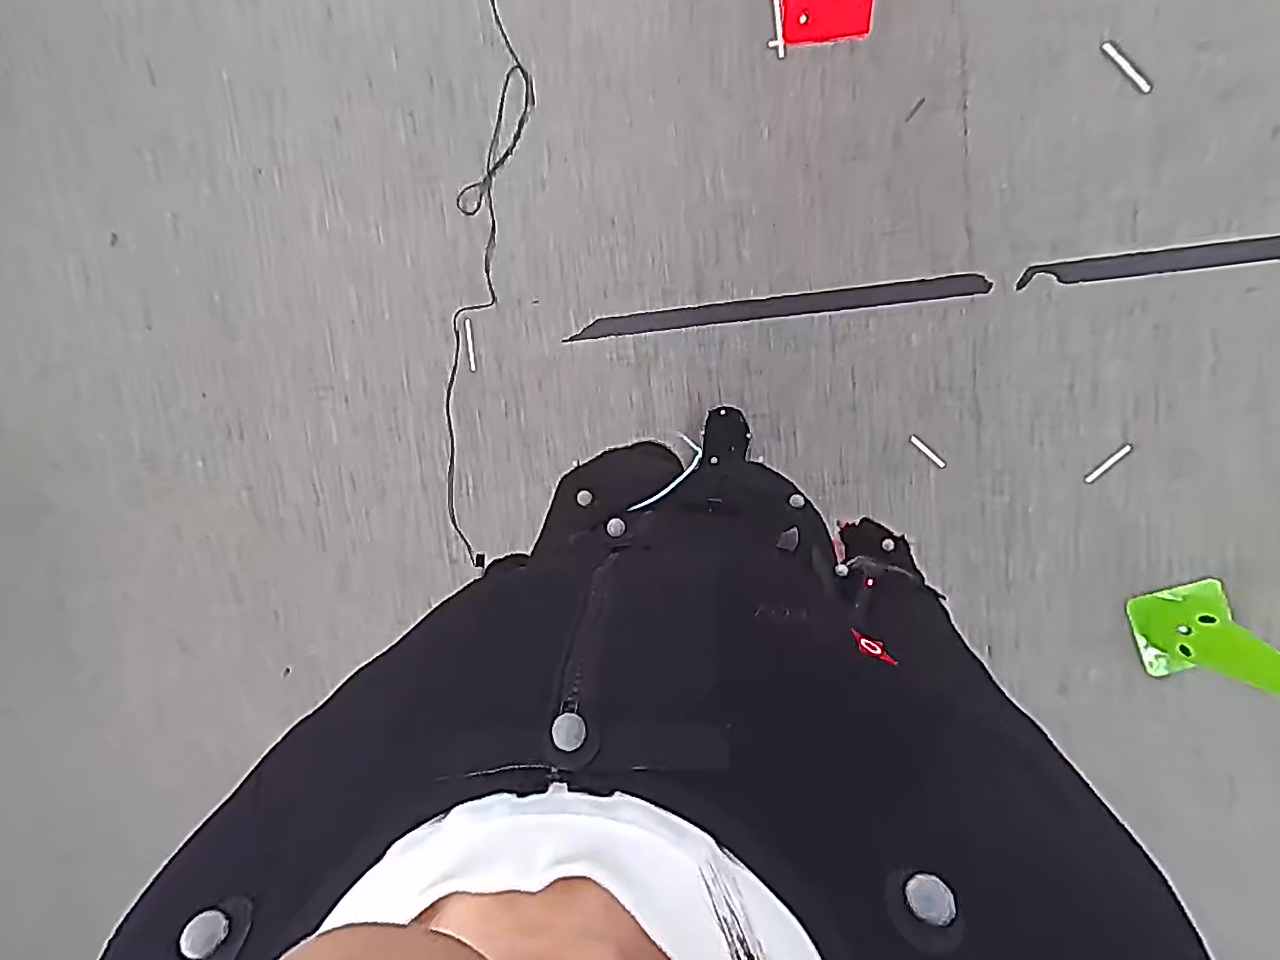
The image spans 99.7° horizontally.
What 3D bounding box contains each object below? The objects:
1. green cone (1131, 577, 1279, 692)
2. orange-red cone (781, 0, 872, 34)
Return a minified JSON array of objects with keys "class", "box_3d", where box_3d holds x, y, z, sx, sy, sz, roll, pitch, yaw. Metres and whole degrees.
[{"class":"green cone","box_3d":[1.254,0.360,1.099,0.202,0.368,0.200,-21,93,13]},{"class":"orange-red cone","box_3d":[0.400,-1.096,1.052,0.199,0.360,0.198,2,98,8]}]
